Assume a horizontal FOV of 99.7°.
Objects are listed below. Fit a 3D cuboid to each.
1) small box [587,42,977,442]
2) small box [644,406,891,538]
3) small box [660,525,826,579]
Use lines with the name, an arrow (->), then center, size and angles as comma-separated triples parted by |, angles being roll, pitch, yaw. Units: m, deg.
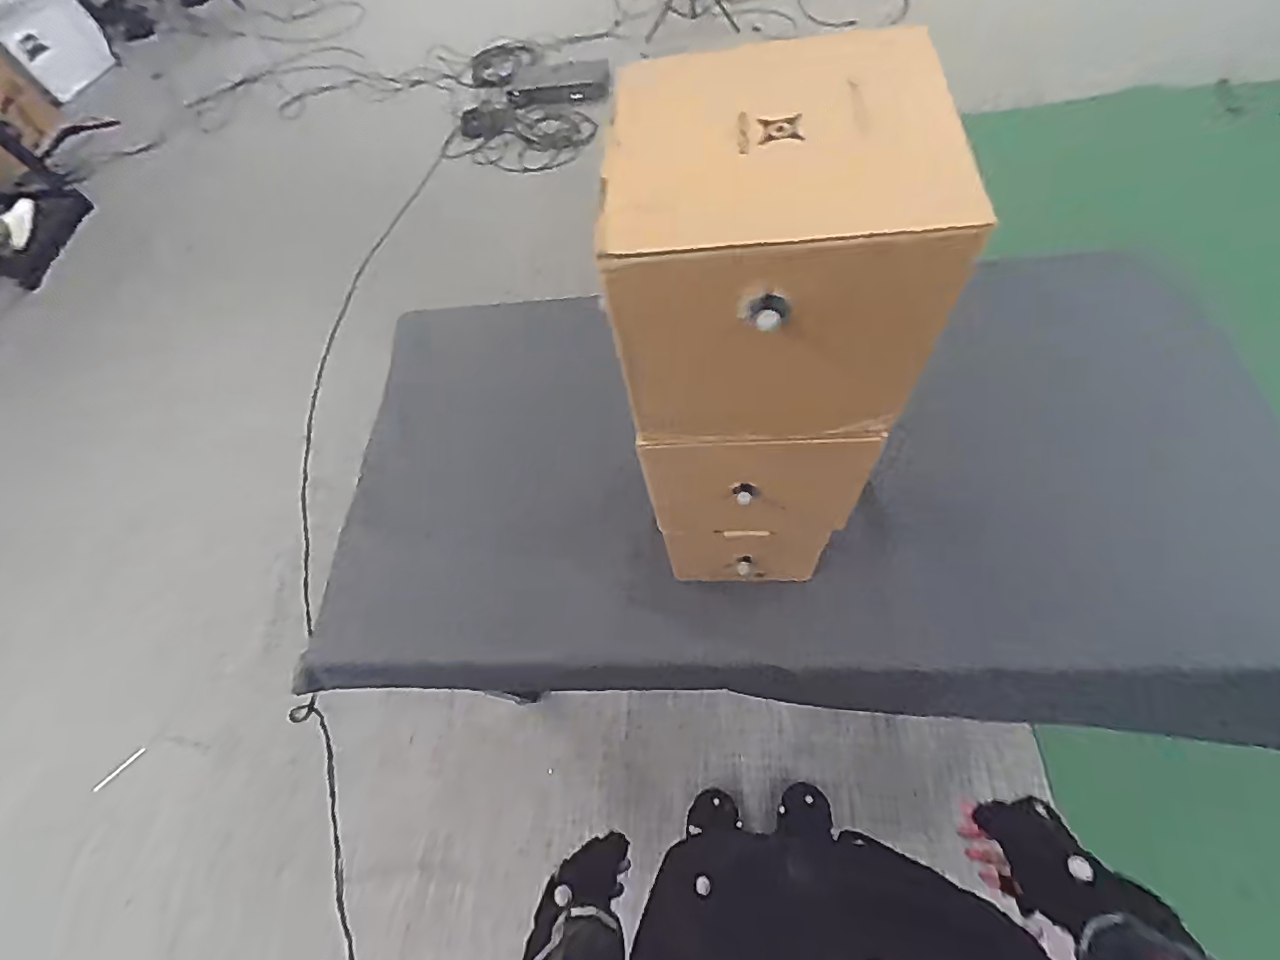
small box -> 0.075, -0.135, 0.350 | 0.179, 0.176, 0.168 | -1, 63, 8
small box -> 0.098, -0.054, 0.488 | 0.179, 0.176, 0.168 | -4, 62, 6
small box -> 0.116, 0.014, 0.637 | 0.168, 0.176, 0.179 | -2, 63, 8
